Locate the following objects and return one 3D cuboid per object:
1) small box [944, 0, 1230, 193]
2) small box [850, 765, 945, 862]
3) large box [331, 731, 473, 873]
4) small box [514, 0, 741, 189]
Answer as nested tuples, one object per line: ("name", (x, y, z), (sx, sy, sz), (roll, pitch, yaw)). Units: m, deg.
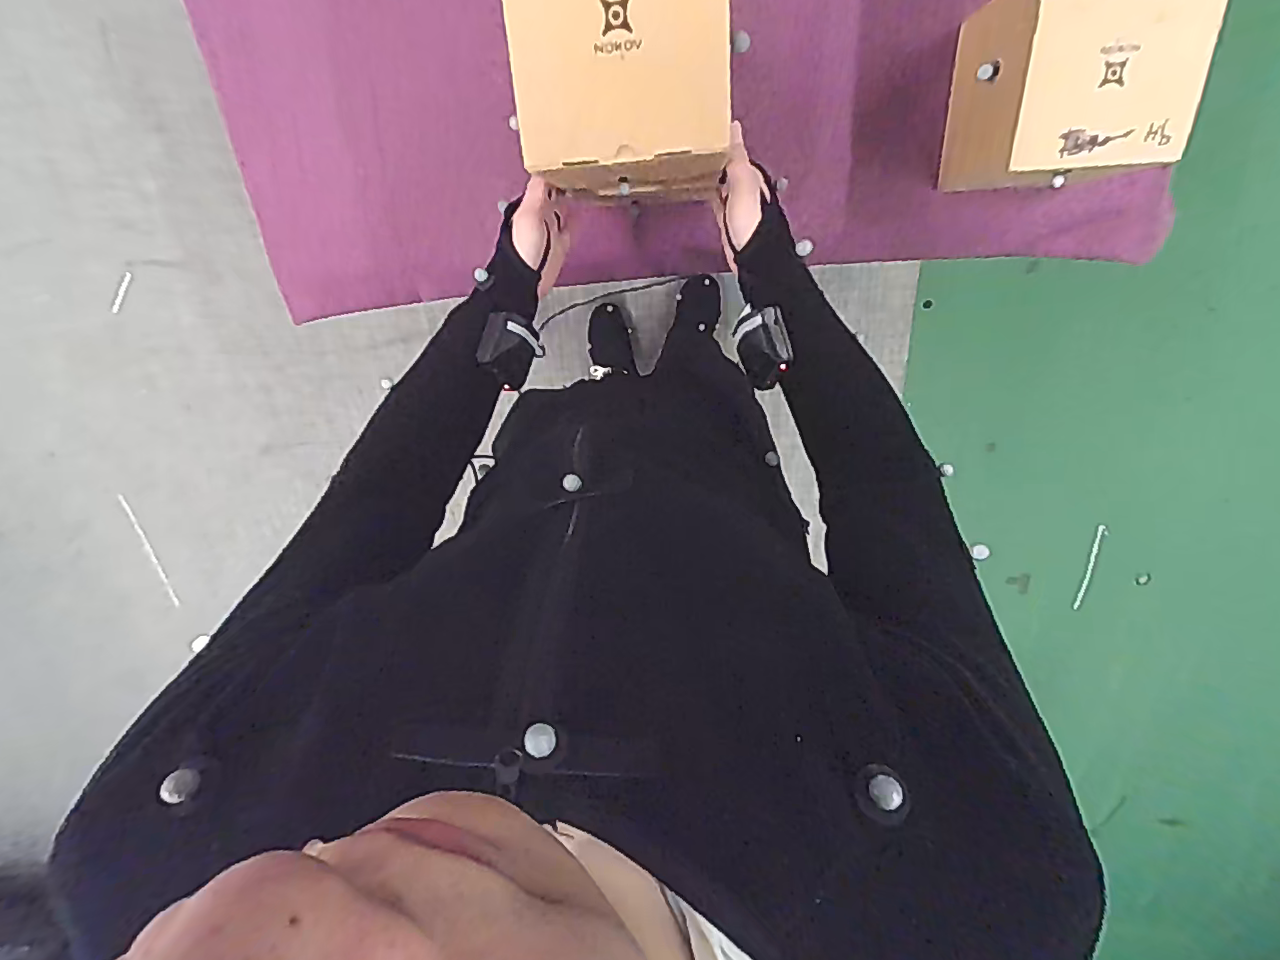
("small box", (0.458, -0.423, 0.585), (0.168, 0.176, 0.179), (-1, 111, 5))
("small box", (0.781, 1.015, 1.661), (0.179, 0.176, 0.168), (34, 112, -11))
("large box", (-0.927, 1.261, 2.135), (0.408, 0.320, 0.320), (19, 114, -6))
("small box", (-0.005, -0.361, 0.464), (0.168, 0.176, 0.179), (-2, 114, 5))
